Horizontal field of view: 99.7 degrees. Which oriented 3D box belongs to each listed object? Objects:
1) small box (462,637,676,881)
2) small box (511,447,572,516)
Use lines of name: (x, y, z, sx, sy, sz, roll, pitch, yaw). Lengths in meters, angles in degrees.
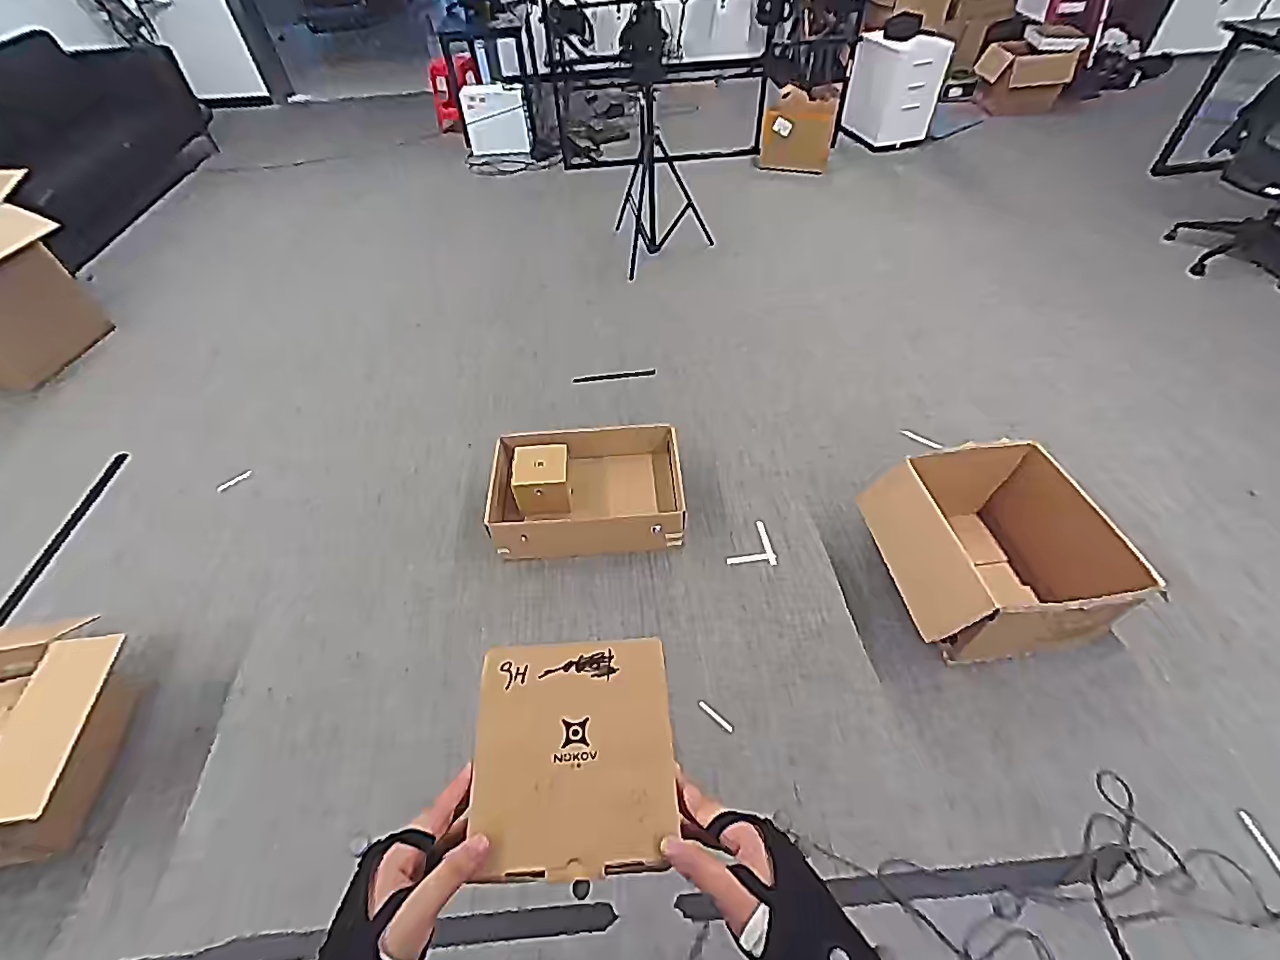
small box: (-0.058, 0.267, 0.517, 0.168, 0.176, 0.179, -3, 54, -4)
small box: (-0.326, 0.010, 1.819, 0.179, 0.176, 0.168, -4, 51, -2)
